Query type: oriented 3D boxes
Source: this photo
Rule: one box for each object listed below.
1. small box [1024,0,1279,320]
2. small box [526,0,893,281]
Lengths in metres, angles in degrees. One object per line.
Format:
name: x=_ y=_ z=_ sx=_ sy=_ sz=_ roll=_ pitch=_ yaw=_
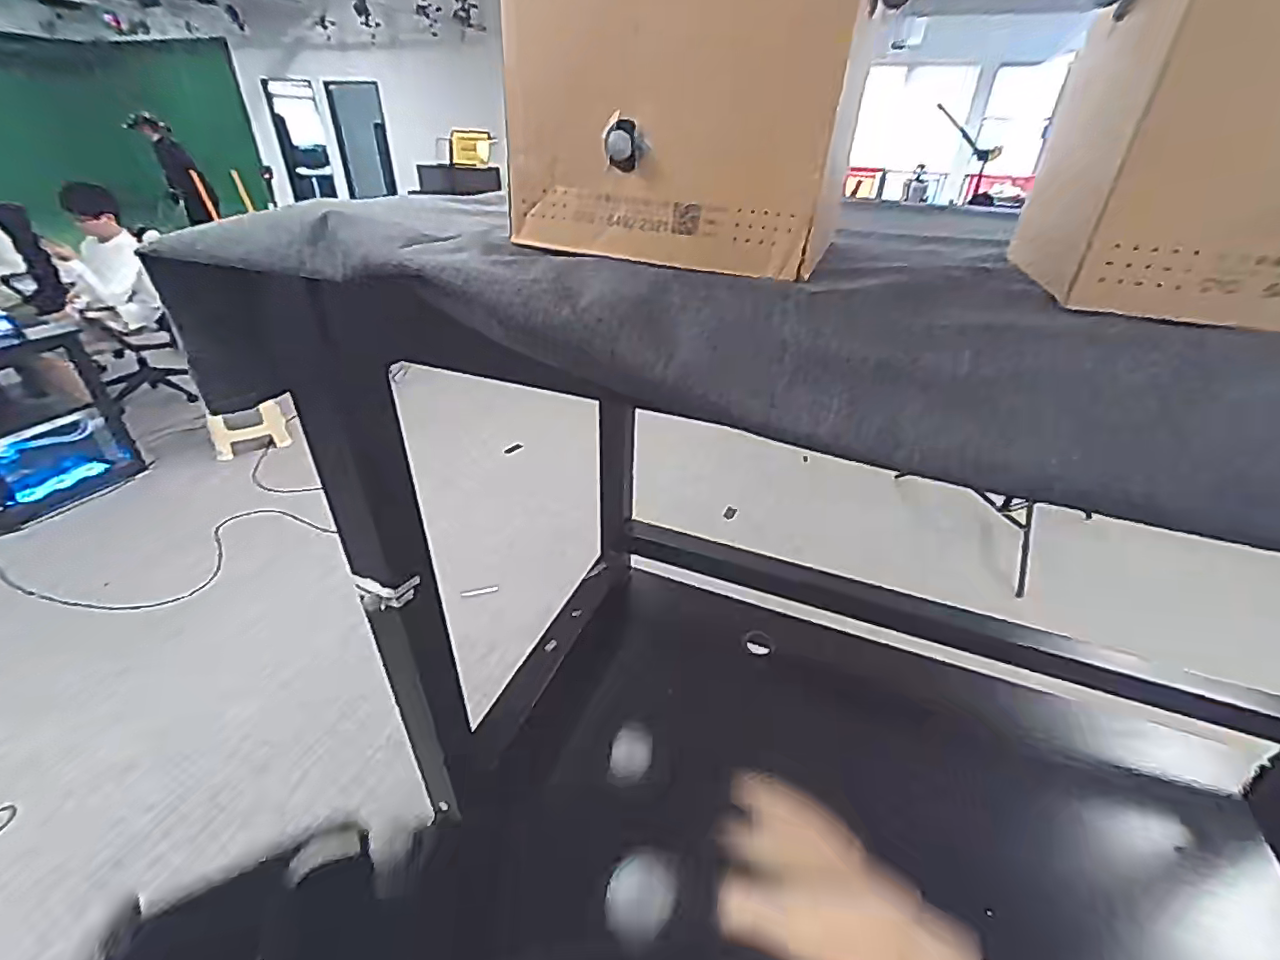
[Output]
small box: x=0.295 y=-0.165 z=0.228 sx=0.168 sy=0.176 sz=0.179 roll=14 pitch=32 yaw=19
small box: x=0.042 y=-0.224 z=0.312 sx=0.168 sy=0.176 sz=0.179 roll=14 pitch=33 yaw=16
